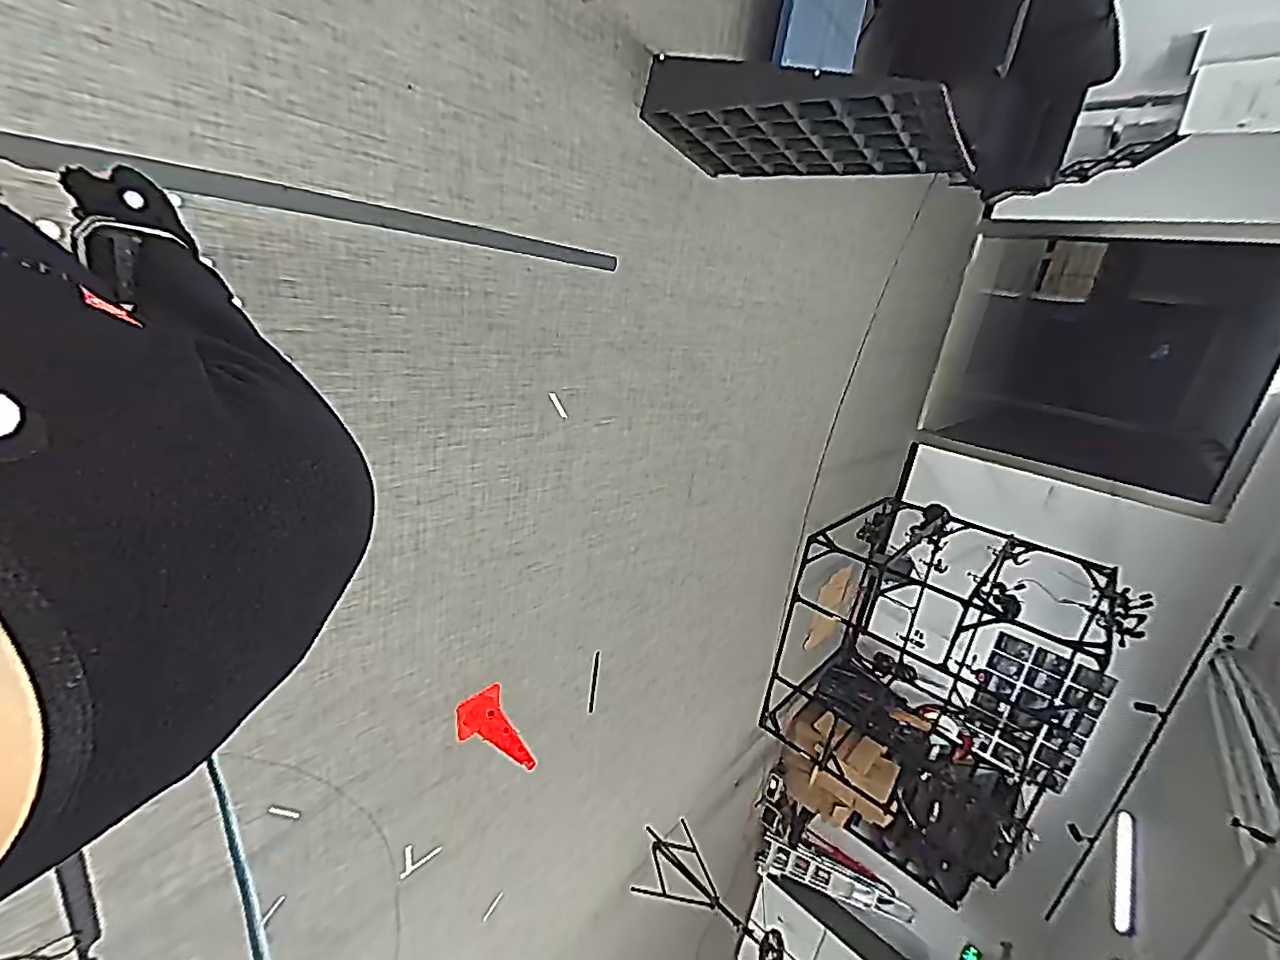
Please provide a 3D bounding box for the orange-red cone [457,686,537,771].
[{"bbox_3d":[-0.527,1.002,2.093,0.198,0.360,0.199,-18,121,-46],"label":"orange-red cone"}]
